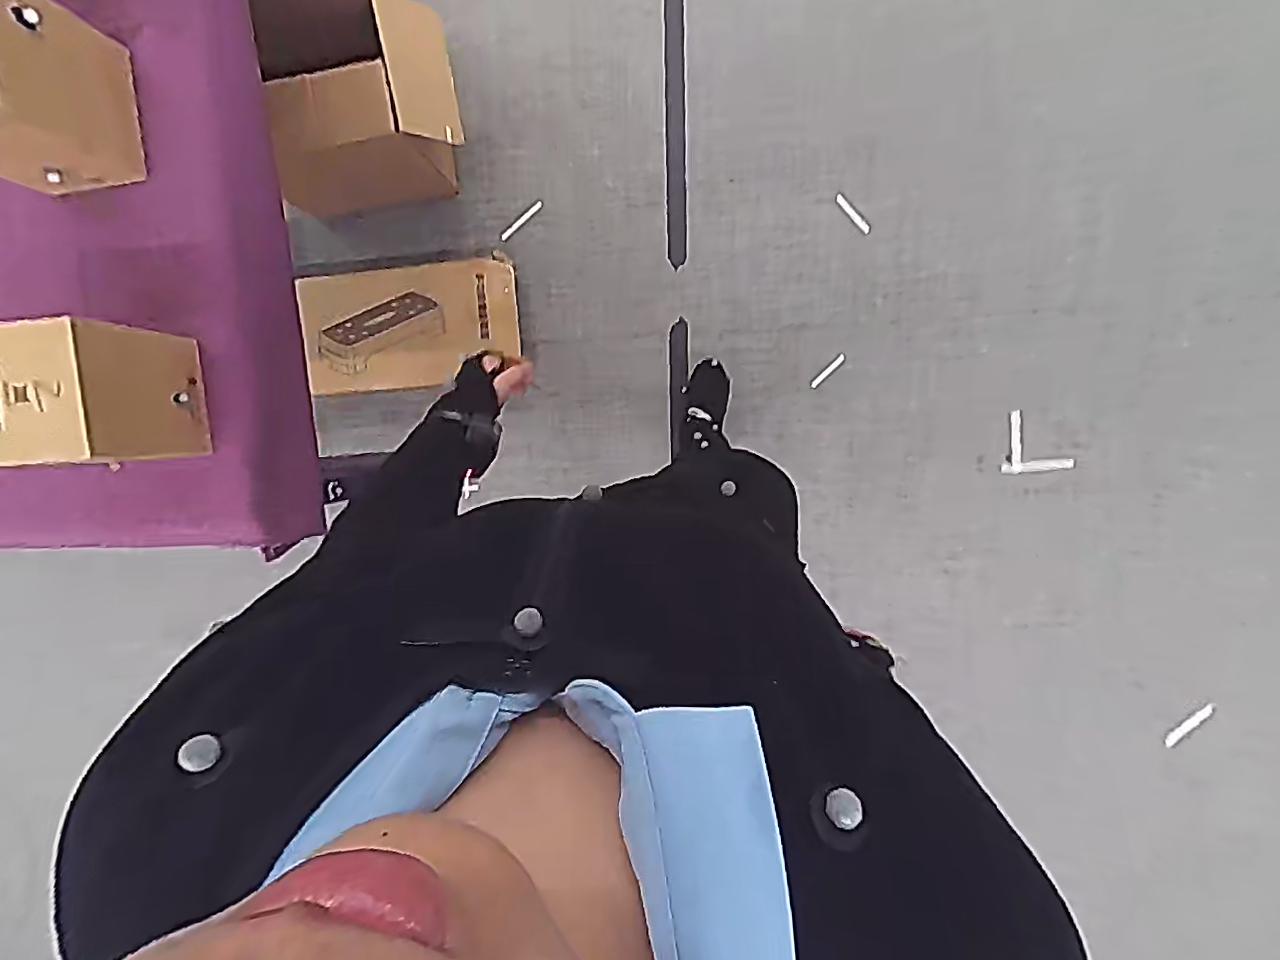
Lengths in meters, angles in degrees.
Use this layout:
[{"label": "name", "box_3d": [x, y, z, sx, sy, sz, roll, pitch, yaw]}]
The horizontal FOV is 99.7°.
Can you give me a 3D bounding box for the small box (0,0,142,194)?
[{"label": "small box", "box_3d": [-0.785, -0.492, 0.677, 0.168, 0.176, 0.179, -4, 94, 8]}]
